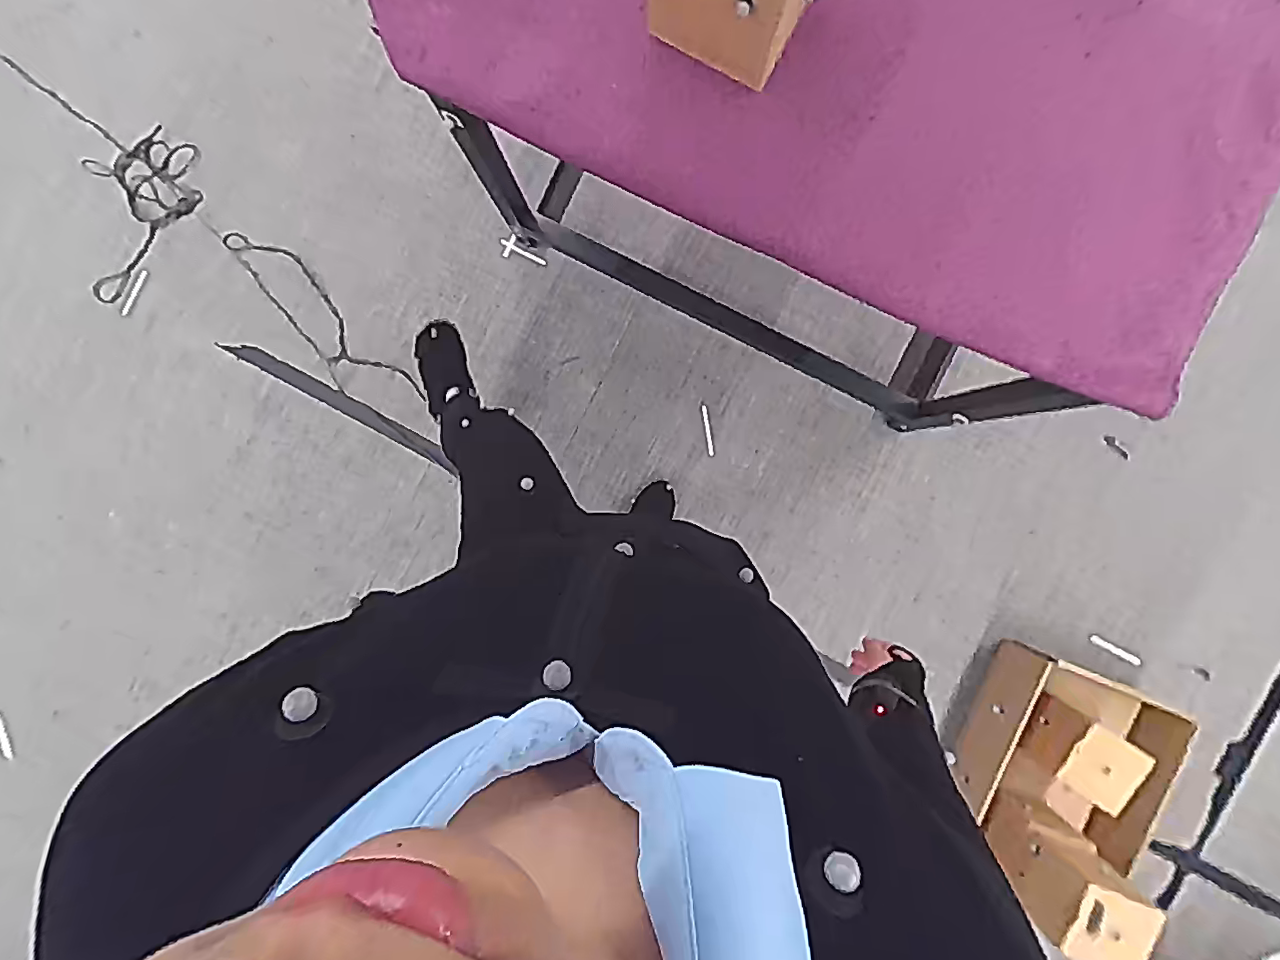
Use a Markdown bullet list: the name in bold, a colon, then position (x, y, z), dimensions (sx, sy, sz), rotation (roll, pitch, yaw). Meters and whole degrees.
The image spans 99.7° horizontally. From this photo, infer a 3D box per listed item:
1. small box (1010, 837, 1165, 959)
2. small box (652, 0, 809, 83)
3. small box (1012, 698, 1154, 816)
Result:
- **small box**: position (0.980, 0.942, 1.203), dimensions (0.179, 0.176, 0.168), rotation (23, 92, -1)
- **small box**: position (0.127, -0.636, 0.655), dimensions (0.179, 0.176, 0.168), rotation (28, 91, 0)
- **small box**: position (1.100, 0.683, 1.358), dimensions (0.179, 0.176, 0.168), rotation (33, 93, -1)
